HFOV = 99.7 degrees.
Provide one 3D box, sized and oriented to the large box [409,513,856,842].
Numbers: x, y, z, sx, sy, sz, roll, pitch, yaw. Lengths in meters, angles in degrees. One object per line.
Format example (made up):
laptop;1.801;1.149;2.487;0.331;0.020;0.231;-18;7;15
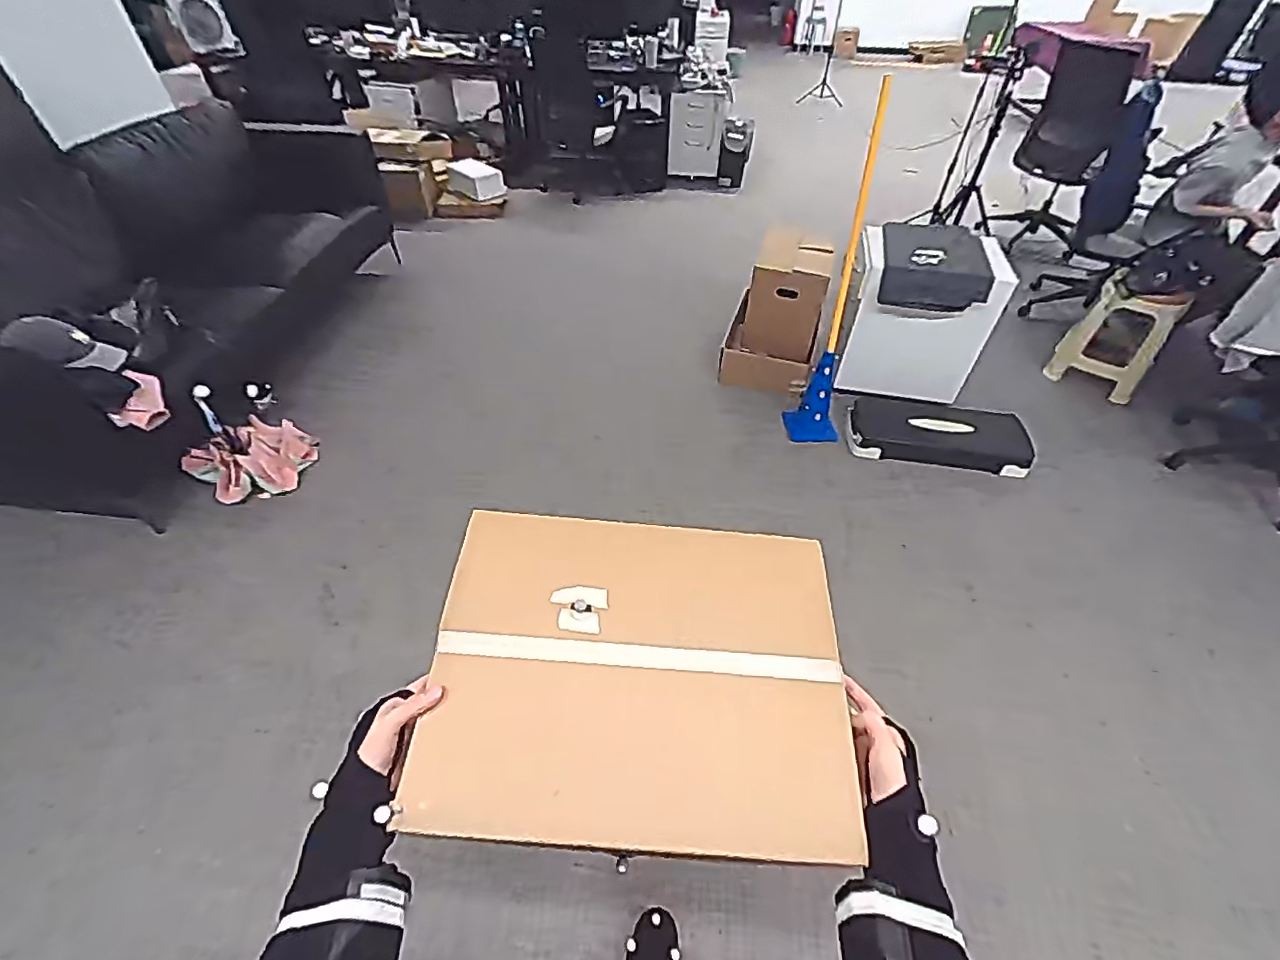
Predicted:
large box;-0.004;0.260;0.680;0.408;0.320;0.320;4;55;-1
